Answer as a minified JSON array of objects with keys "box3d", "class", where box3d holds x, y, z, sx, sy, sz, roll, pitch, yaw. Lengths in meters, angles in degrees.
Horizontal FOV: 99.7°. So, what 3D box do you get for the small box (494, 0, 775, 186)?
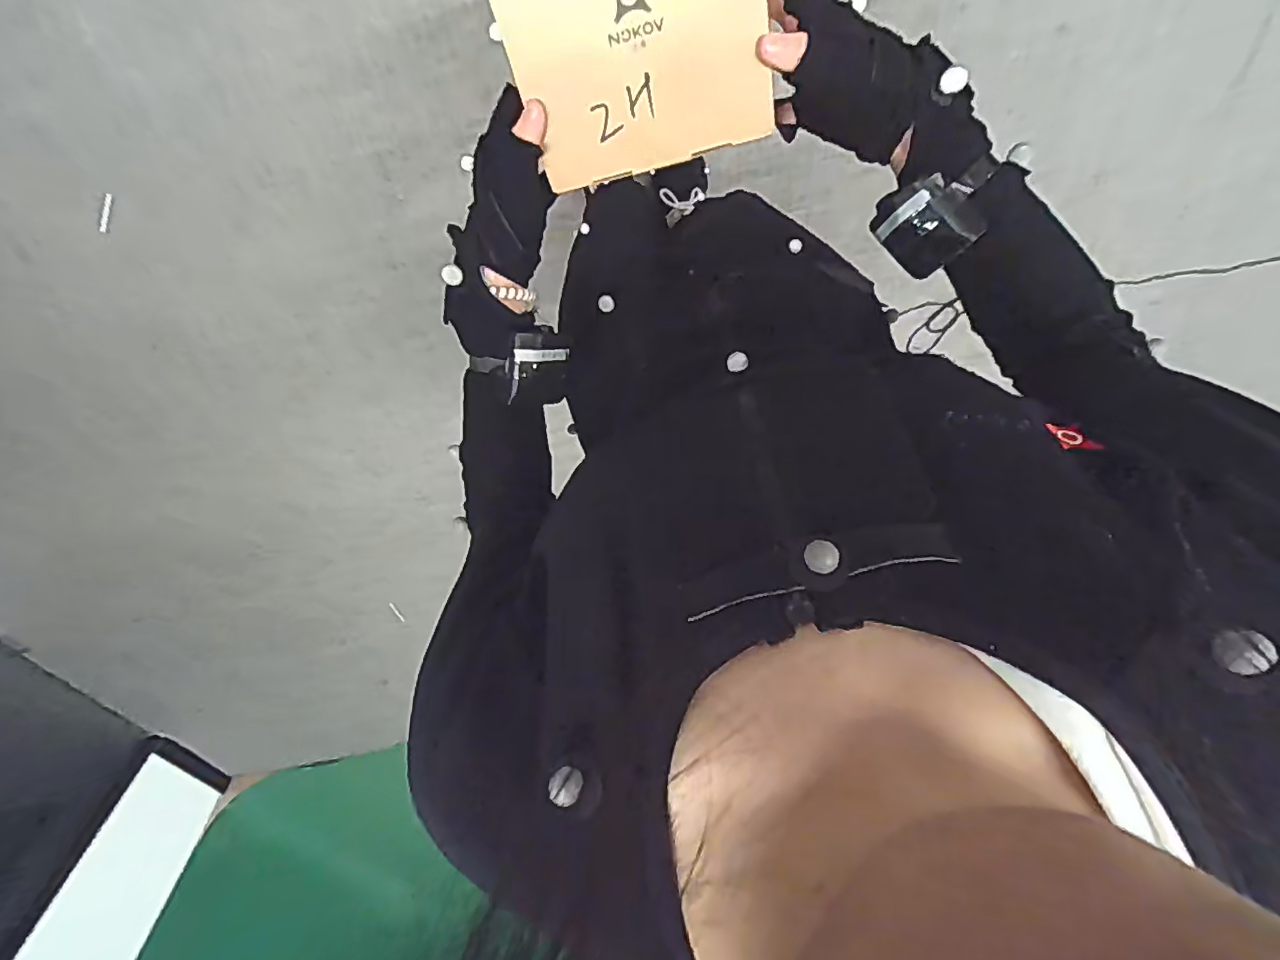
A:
[{"box3d":[-0.005,-0.342,0.383,0.168,0.176,0.179,-9,133,10],"class":"small box"}]
